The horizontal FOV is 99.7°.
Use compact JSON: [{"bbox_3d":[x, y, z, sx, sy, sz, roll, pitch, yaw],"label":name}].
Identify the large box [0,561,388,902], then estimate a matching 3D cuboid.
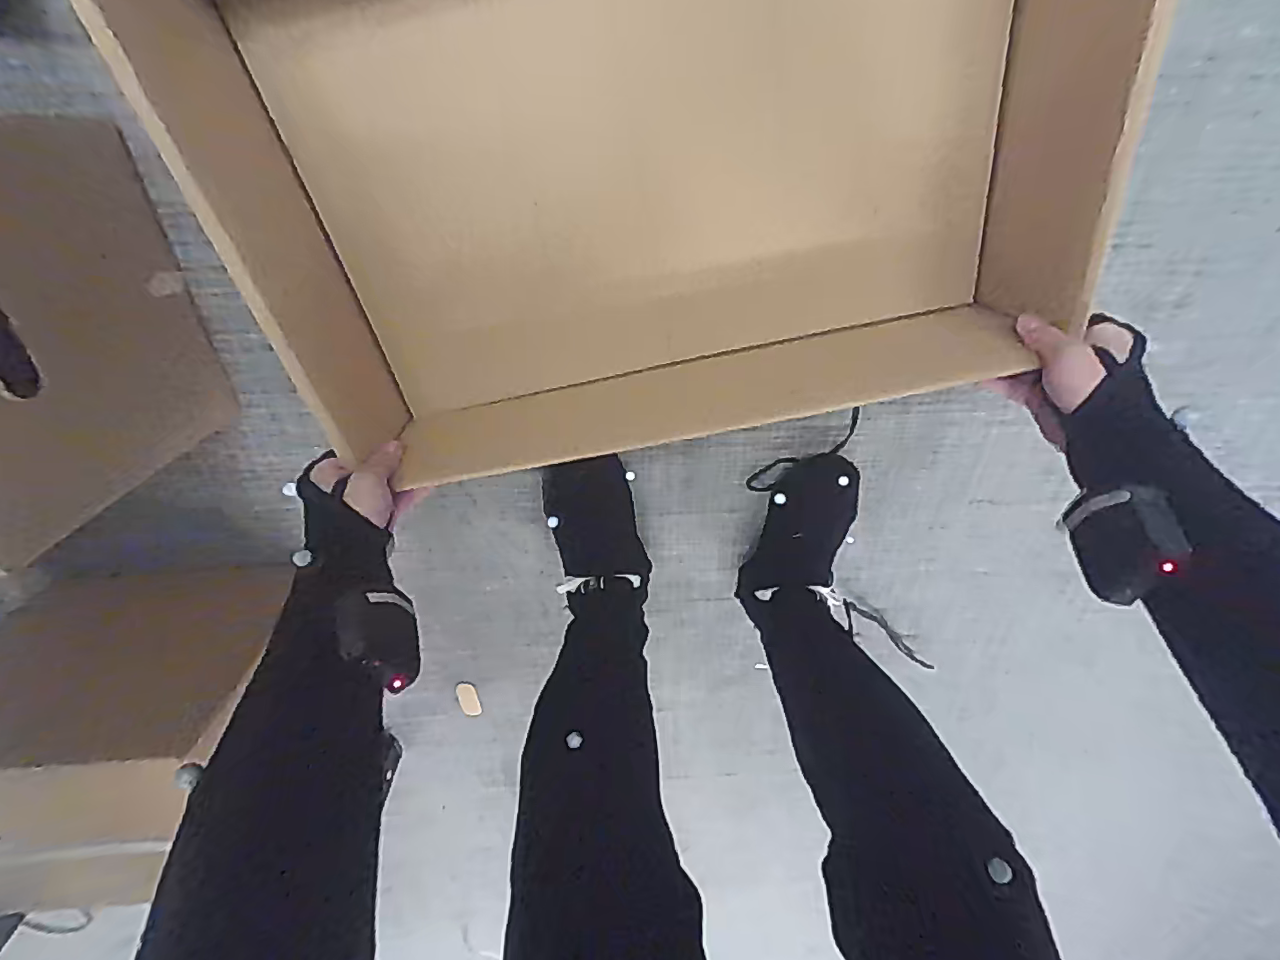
[{"bbox_3d":[-0.649,0.340,0.764,0.408,0.320,0.320,-4,120,1],"label":"large box"}]
